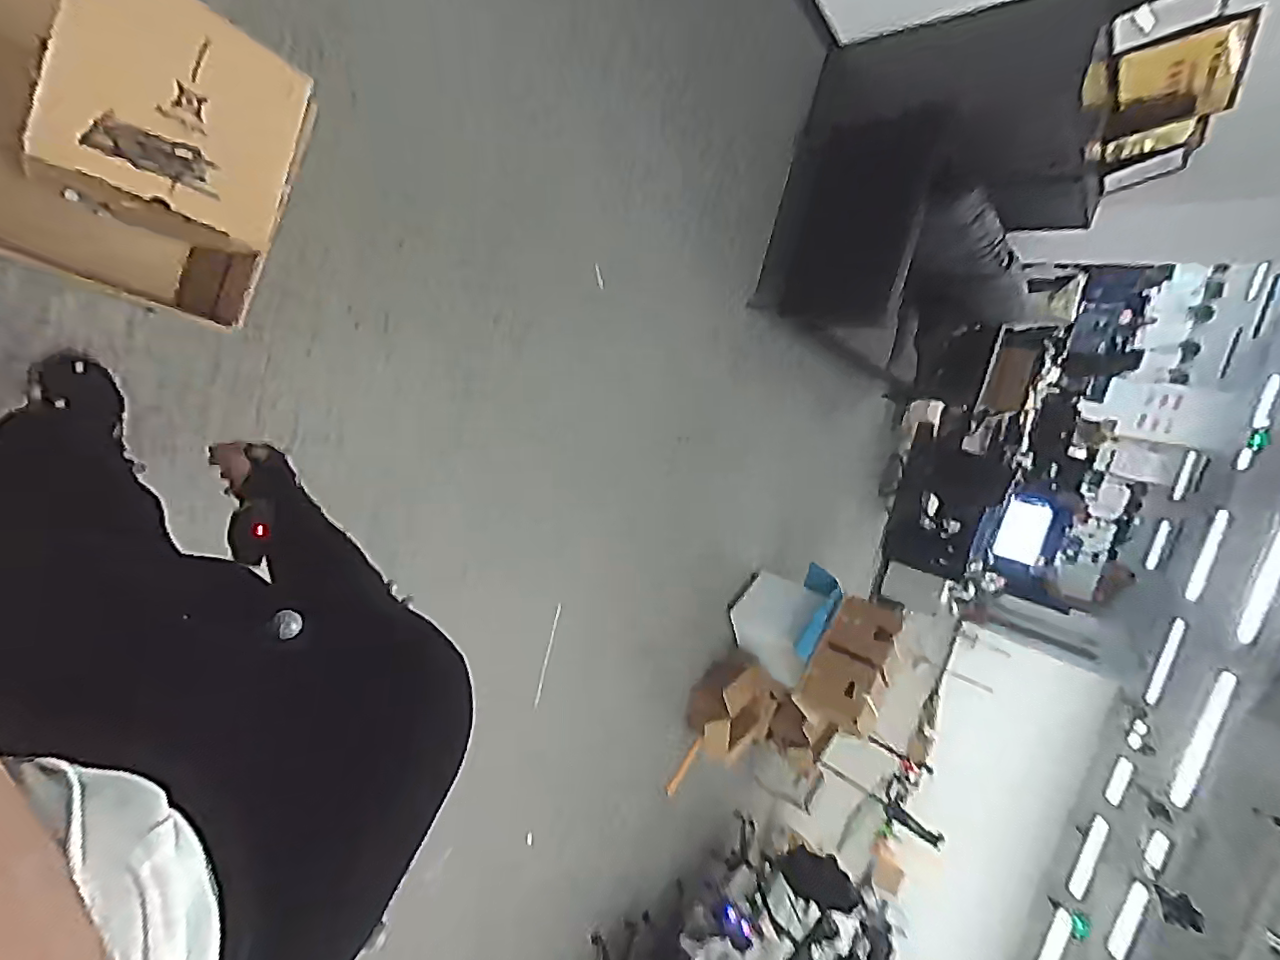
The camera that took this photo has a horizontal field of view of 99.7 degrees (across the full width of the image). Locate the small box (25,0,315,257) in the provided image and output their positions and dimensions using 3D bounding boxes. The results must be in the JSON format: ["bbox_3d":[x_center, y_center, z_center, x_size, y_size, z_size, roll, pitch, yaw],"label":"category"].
[{"bbox_3d":[-0.453,-0.338,0.525,0.168,0.176,0.179,15,94,-51],"label":"small box"}]
